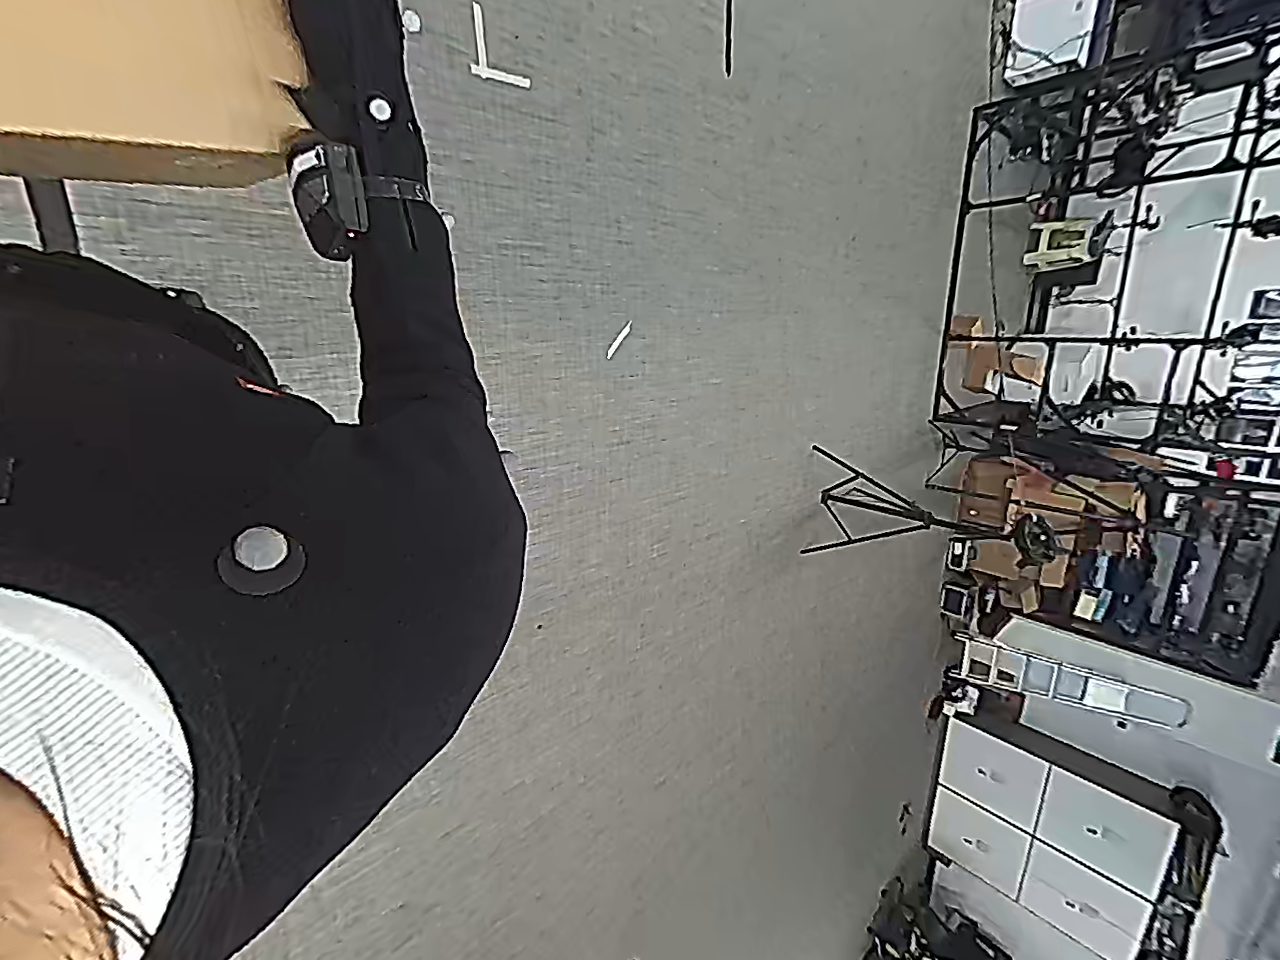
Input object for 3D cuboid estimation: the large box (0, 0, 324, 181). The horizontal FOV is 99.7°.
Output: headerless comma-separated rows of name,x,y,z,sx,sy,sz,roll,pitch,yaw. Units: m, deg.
large box,-0.479,-0.366,0.310,0.408,0.320,0.320,-22,123,-39
